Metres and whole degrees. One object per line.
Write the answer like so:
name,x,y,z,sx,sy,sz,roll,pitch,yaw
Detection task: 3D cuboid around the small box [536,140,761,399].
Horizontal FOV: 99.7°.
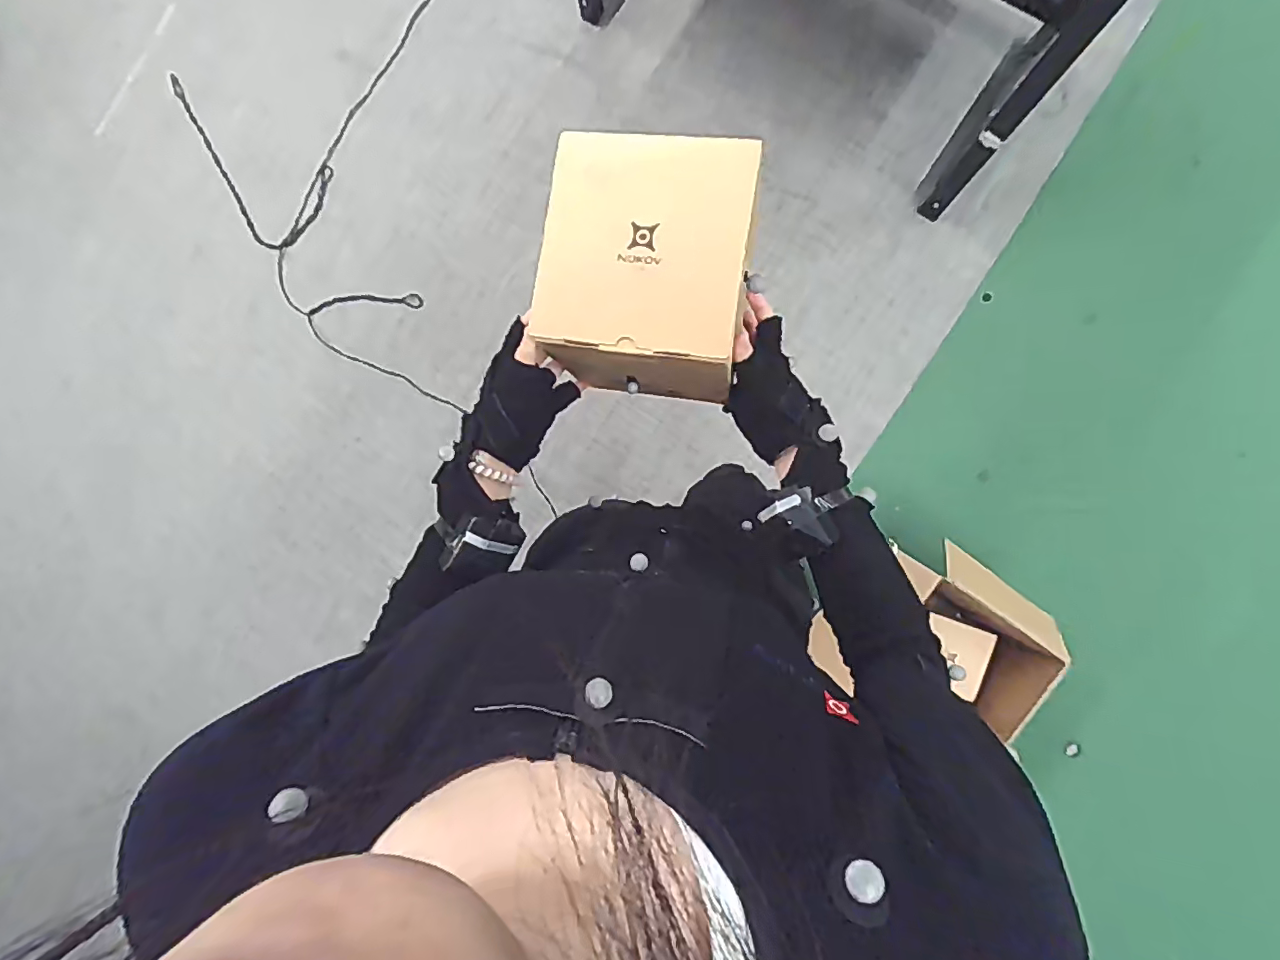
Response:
small box,0.016,-0.187,0.522,0.168,0.176,0.179,9,90,9
